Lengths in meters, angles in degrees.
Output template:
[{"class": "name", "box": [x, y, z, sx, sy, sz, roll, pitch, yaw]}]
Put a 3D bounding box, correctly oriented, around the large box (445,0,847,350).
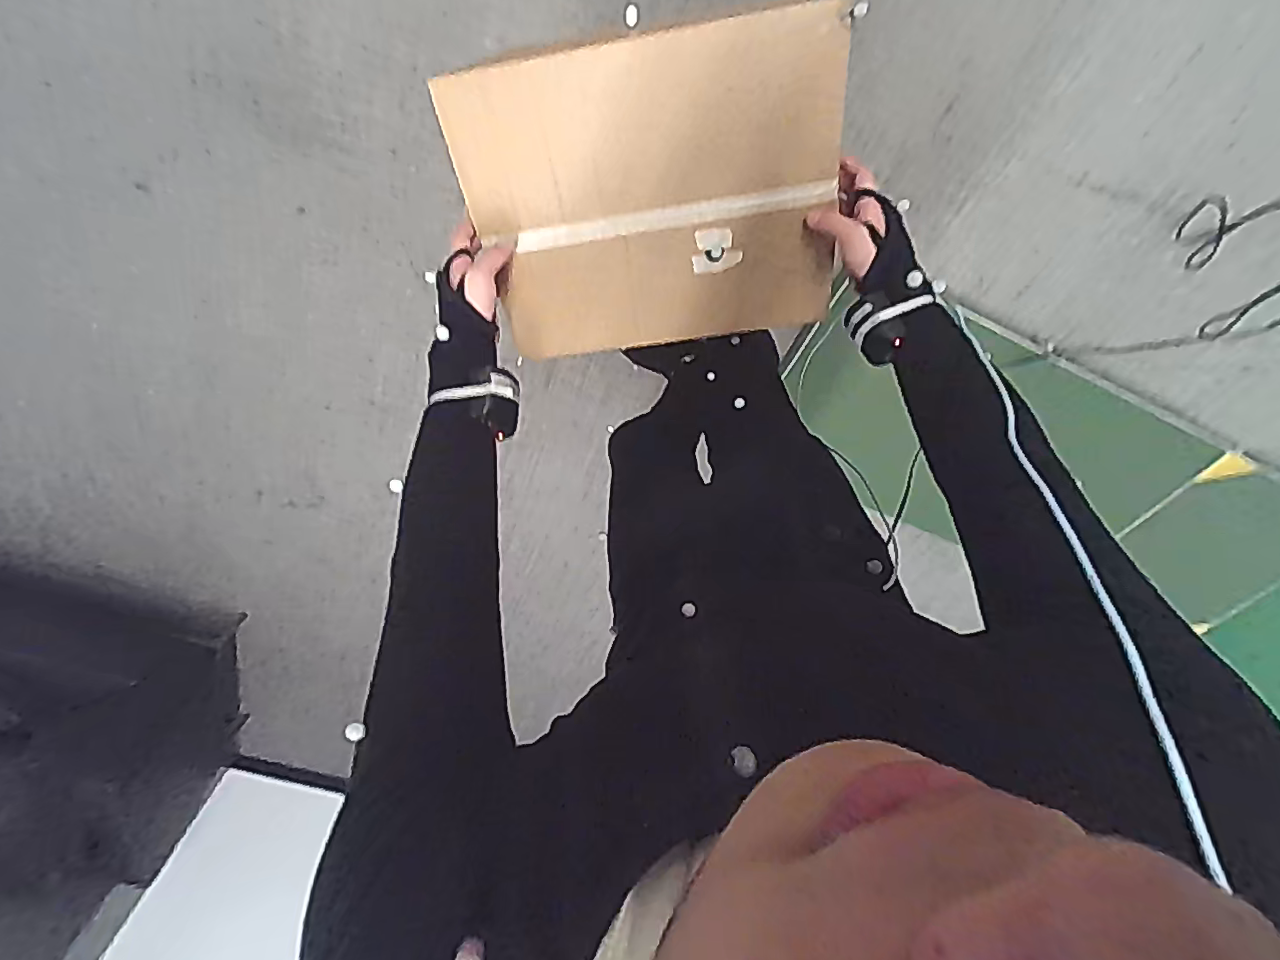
[{"class": "large box", "box": [0.019, -0.409, 0.729, 0.408, 0.320, 0.320, -6, 132, 6]}]
